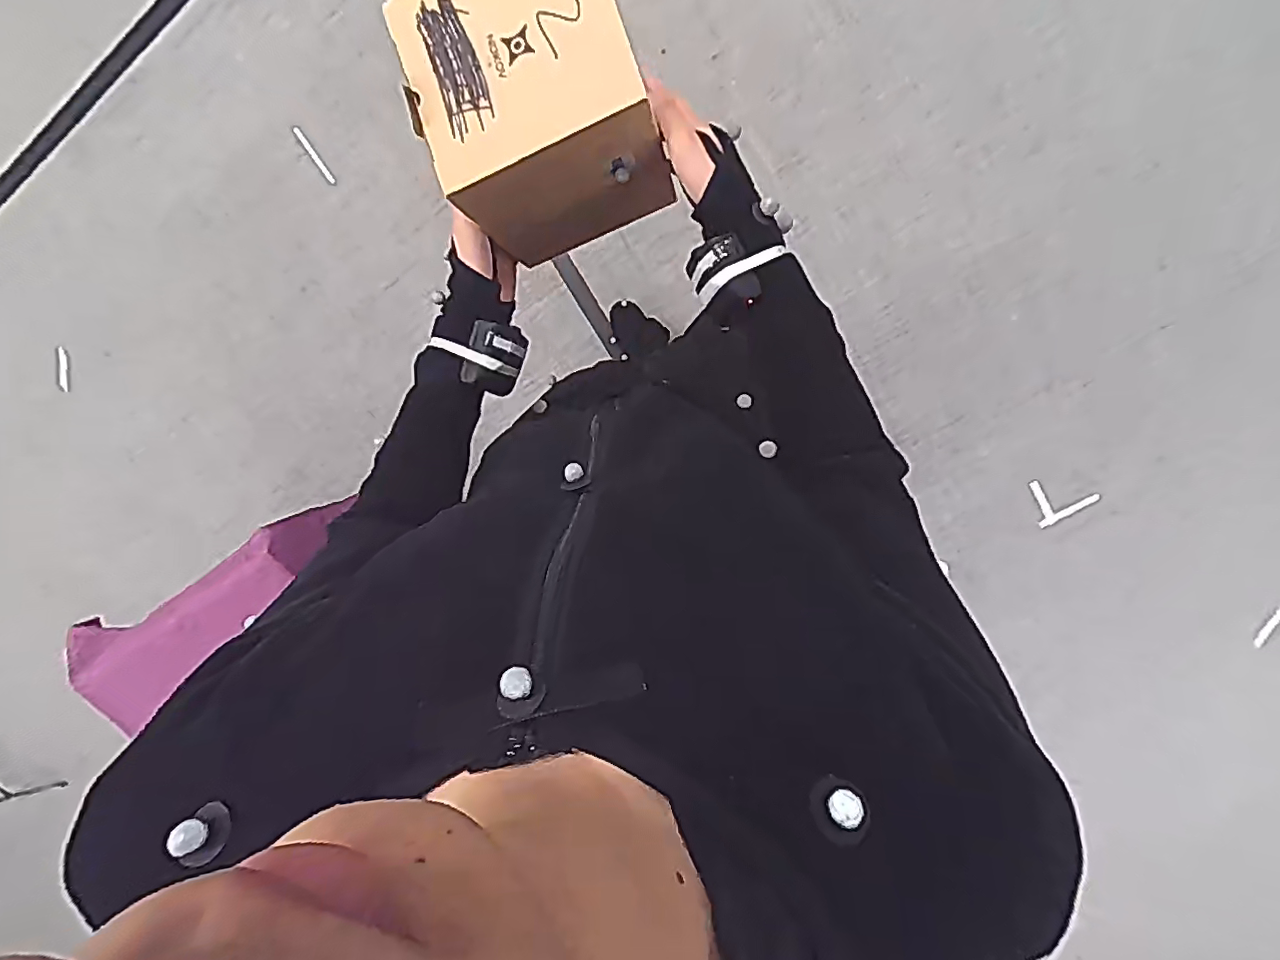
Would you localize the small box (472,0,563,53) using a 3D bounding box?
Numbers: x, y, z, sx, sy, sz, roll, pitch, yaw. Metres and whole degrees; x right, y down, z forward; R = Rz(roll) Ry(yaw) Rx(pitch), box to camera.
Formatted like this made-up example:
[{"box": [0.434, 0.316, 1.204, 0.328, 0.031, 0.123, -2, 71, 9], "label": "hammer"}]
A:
[{"box": [-0.294, -1.110, 1.214, 0.168, 0.176, 0.179, -27, 105, 12], "label": "small box"}]

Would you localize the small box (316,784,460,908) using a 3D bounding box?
[{"box": [-0.509, 0.779, 1.121, 0.168, 0.176, 0.179, -41, 102, 16], "label": "small box"}]
